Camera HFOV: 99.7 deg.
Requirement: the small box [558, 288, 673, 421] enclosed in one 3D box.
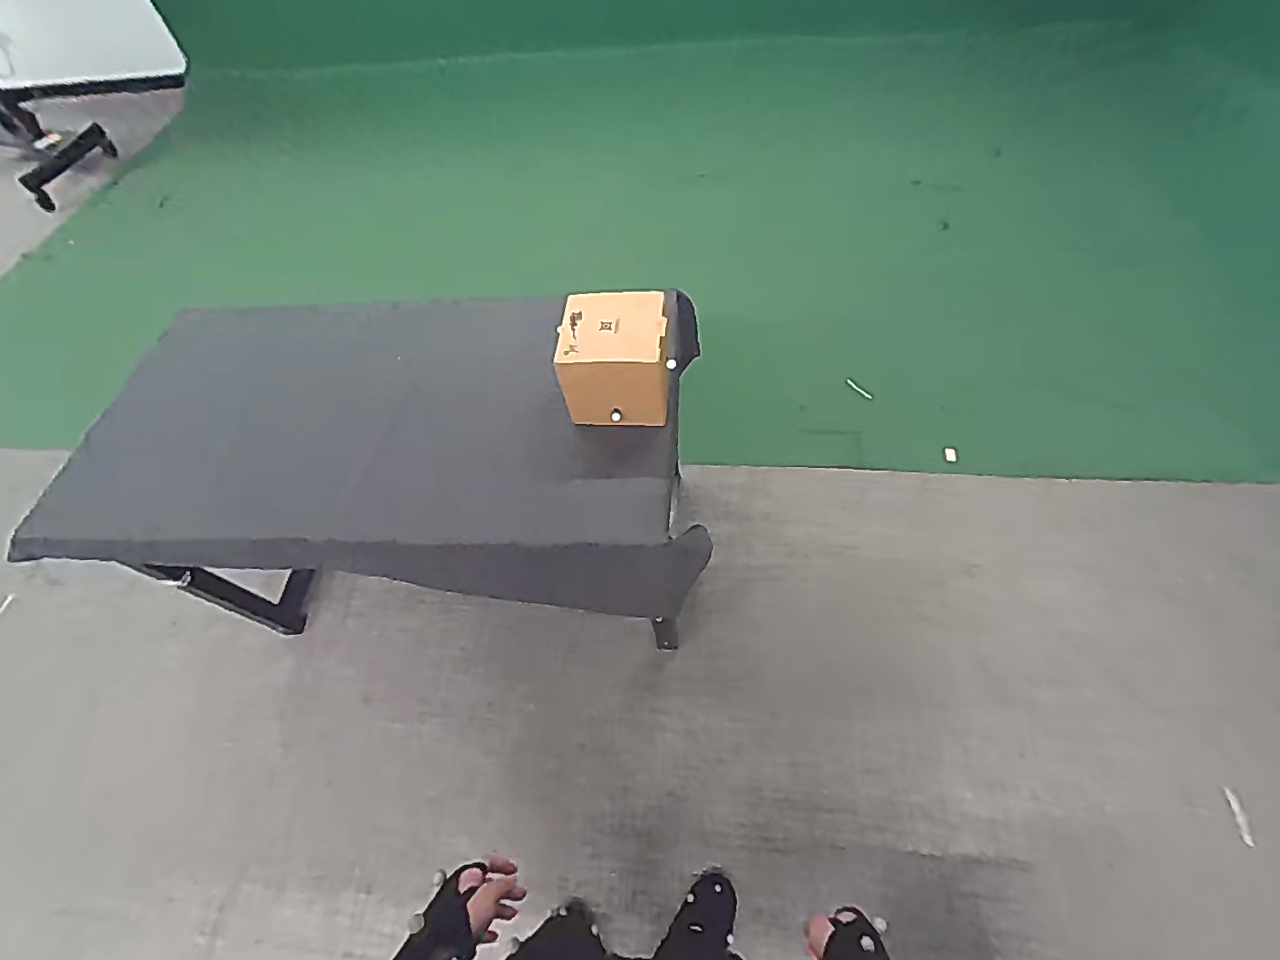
[{"bbox_3d":[-0.033,-0.220,0.968,0.179,0.176,0.168,3,58,6],"label":"small box"}]
